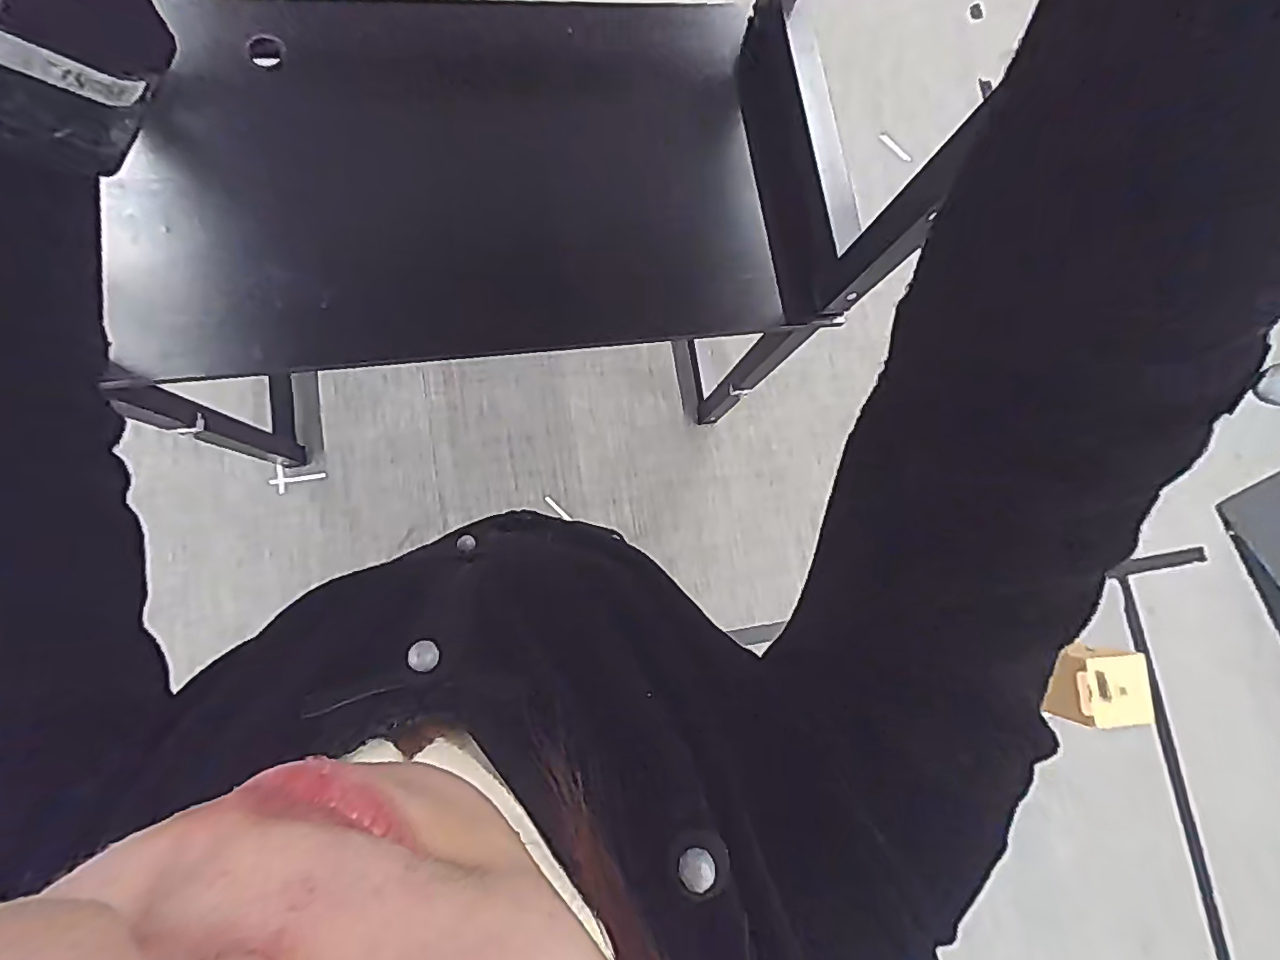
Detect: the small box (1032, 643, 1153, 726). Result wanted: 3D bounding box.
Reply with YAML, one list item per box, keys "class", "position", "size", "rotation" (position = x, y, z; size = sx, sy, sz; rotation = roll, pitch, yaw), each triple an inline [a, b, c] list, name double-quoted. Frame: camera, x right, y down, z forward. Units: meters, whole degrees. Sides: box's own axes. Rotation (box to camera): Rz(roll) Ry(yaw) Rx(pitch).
- class: "small box"
  position: [1.154, 0.521, 1.398]
  size: [0.179, 0.176, 0.168]
  rotation: [-1, 83, -9]
